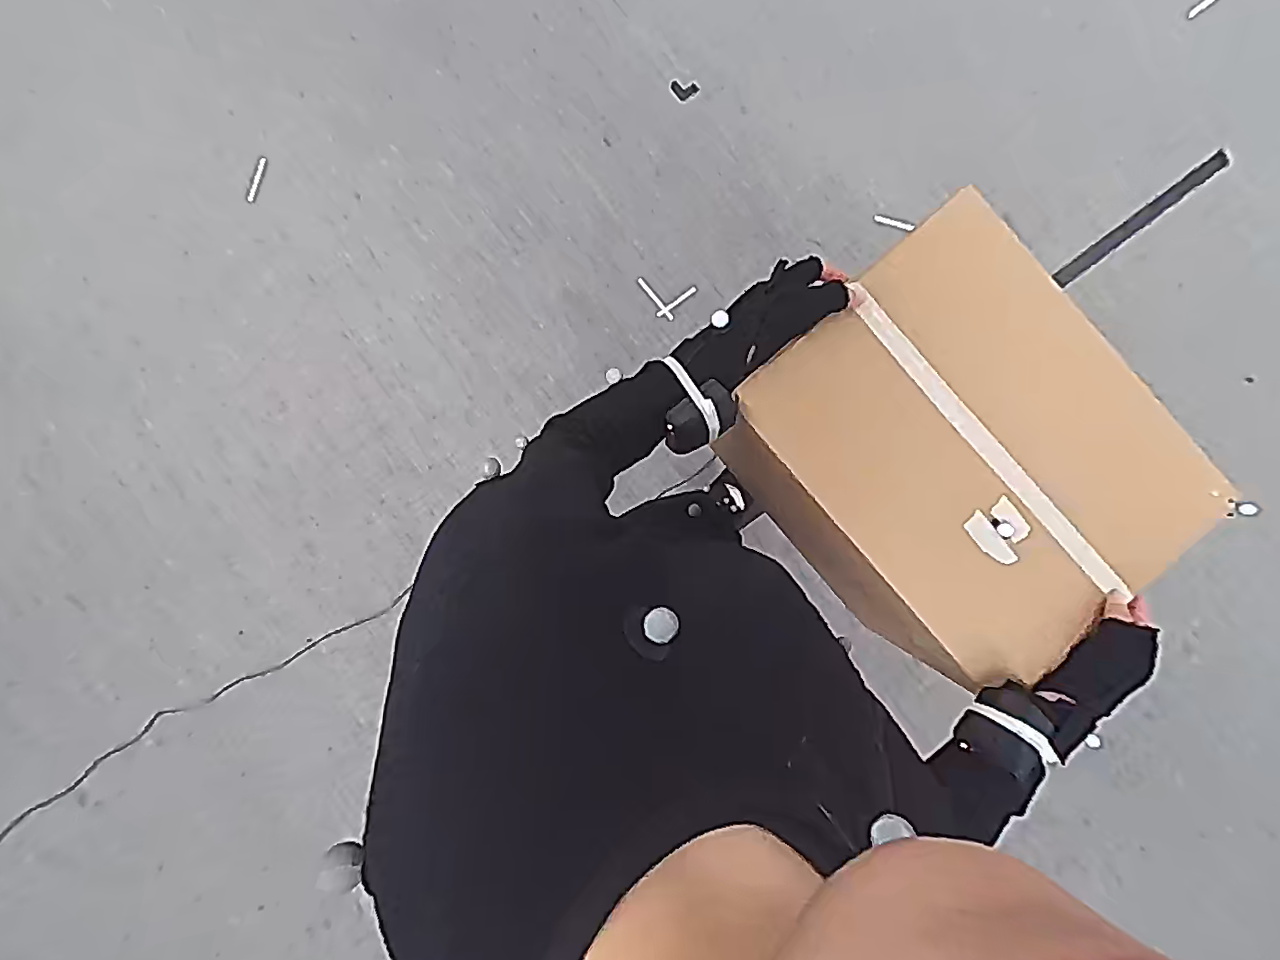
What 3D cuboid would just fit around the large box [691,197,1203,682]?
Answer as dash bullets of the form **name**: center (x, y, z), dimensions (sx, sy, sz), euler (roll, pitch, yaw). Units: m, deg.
- **large box**: center (0.322, -0.042, 0.688), dimensions (0.320, 0.320, 0.408), euler (-41, 91, 0)
